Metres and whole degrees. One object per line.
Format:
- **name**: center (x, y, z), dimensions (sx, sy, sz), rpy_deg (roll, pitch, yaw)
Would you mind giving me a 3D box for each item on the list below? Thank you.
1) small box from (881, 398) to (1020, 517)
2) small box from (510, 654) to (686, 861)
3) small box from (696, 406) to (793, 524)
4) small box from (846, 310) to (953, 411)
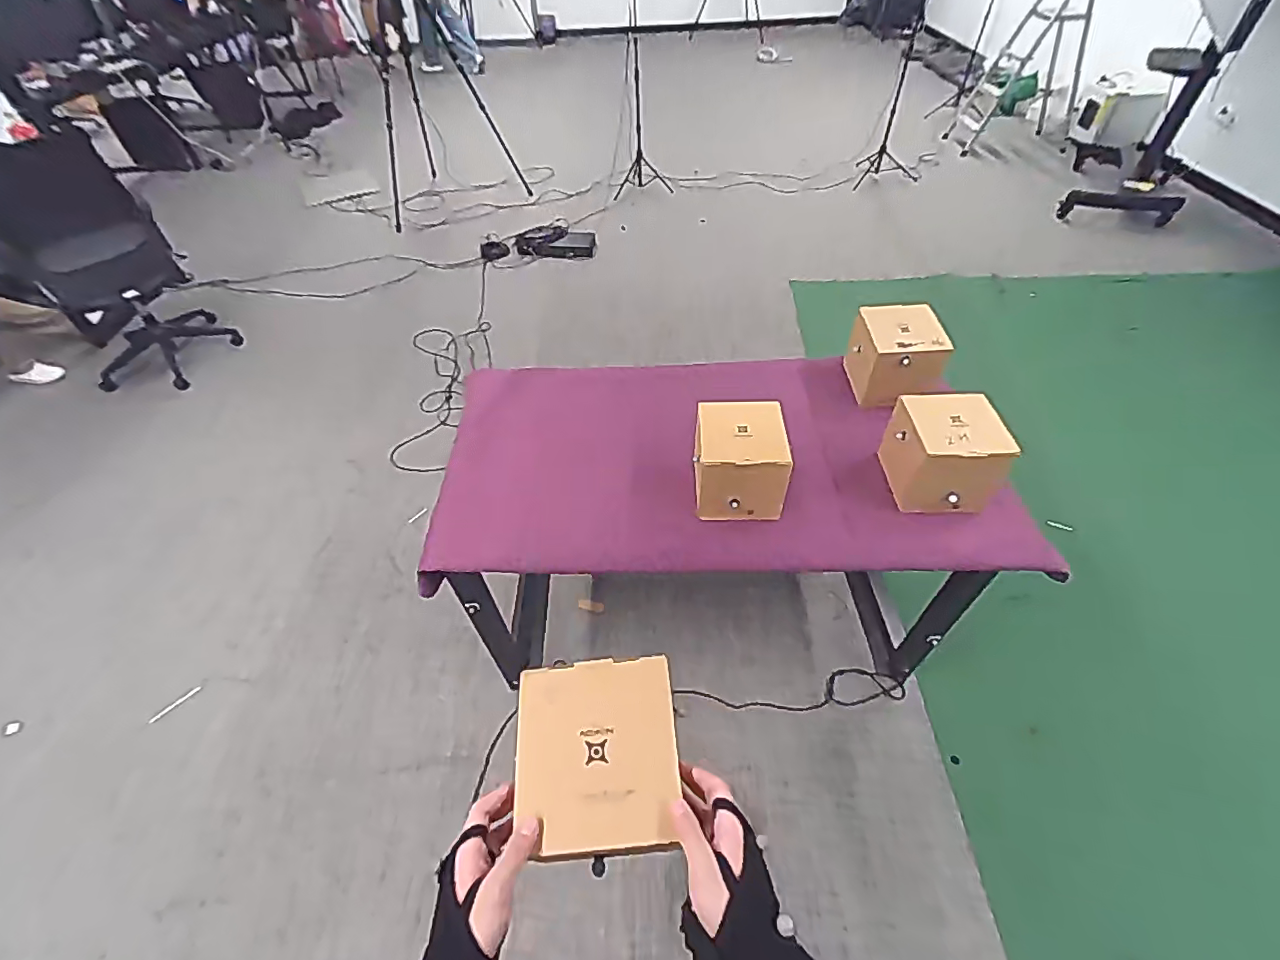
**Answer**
- **small box**: center (0.606, -0.046, 1.086), dimensions (0.168, 0.176, 0.179), rpy_deg (-1, 47, 4)
- **small box**: center (-0.040, 0.318, 0.614), dimensions (0.168, 0.176, 0.179), rpy_deg (-6, 53, 1)
- **small box**: center (0.202, -0.032, 1.098), dimensions (0.168, 0.176, 0.179), rpy_deg (0, 48, 2)
- **small box**: center (0.609, -0.286, 1.299), dimensions (0.168, 0.176, 0.179), rpy_deg (-2, 50, 3)
